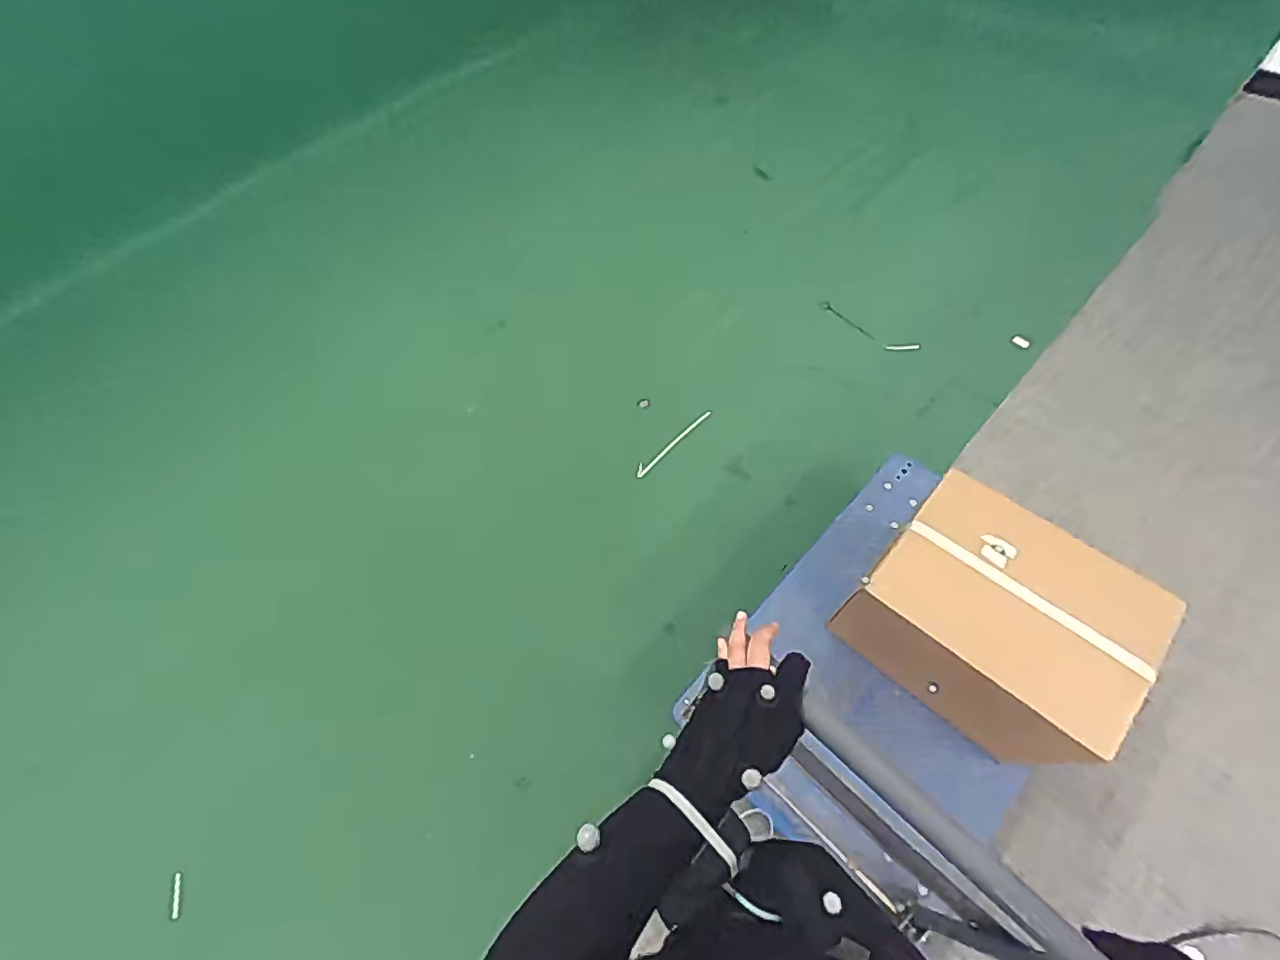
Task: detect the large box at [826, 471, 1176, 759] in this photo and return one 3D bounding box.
[{"bbox_3d":[0.637,0.263,1.033,0.408,0.320,0.320,38,72,24],"label":"large box"}]
